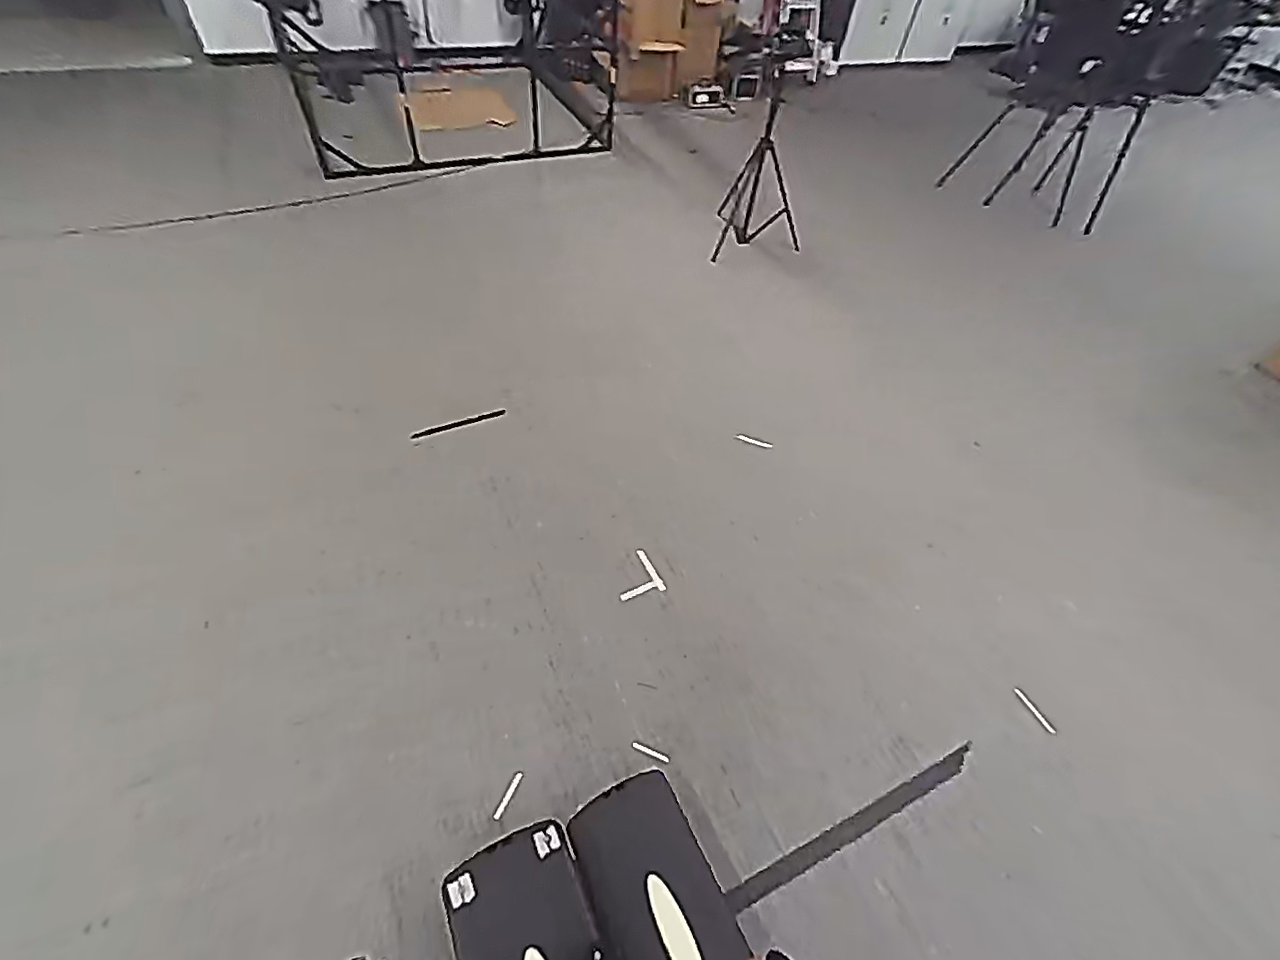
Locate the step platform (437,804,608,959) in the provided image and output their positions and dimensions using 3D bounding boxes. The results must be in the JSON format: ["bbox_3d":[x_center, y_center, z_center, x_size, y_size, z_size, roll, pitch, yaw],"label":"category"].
[{"bbox_3d":[-0.200,1.080,1.130,0.286,0.204,0.684,-19,55,-20],"label":"step platform"}]
